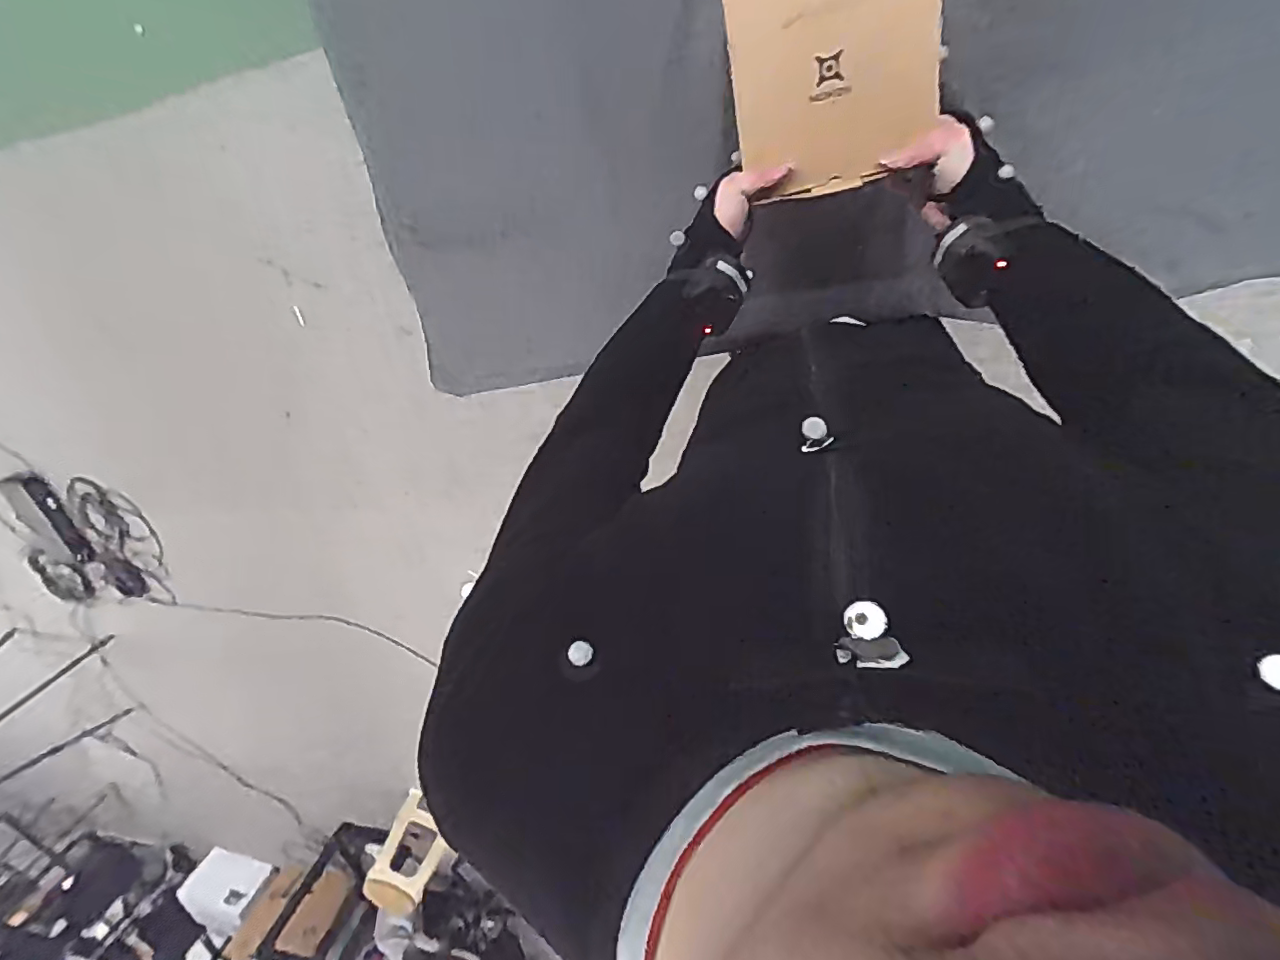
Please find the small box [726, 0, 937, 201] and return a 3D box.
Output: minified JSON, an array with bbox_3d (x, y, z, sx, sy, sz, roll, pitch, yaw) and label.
[{"bbox_3d":[0.177,-0.387,0.530,0.168,0.176,0.179,-5,116,14],"label":"small box"}]
